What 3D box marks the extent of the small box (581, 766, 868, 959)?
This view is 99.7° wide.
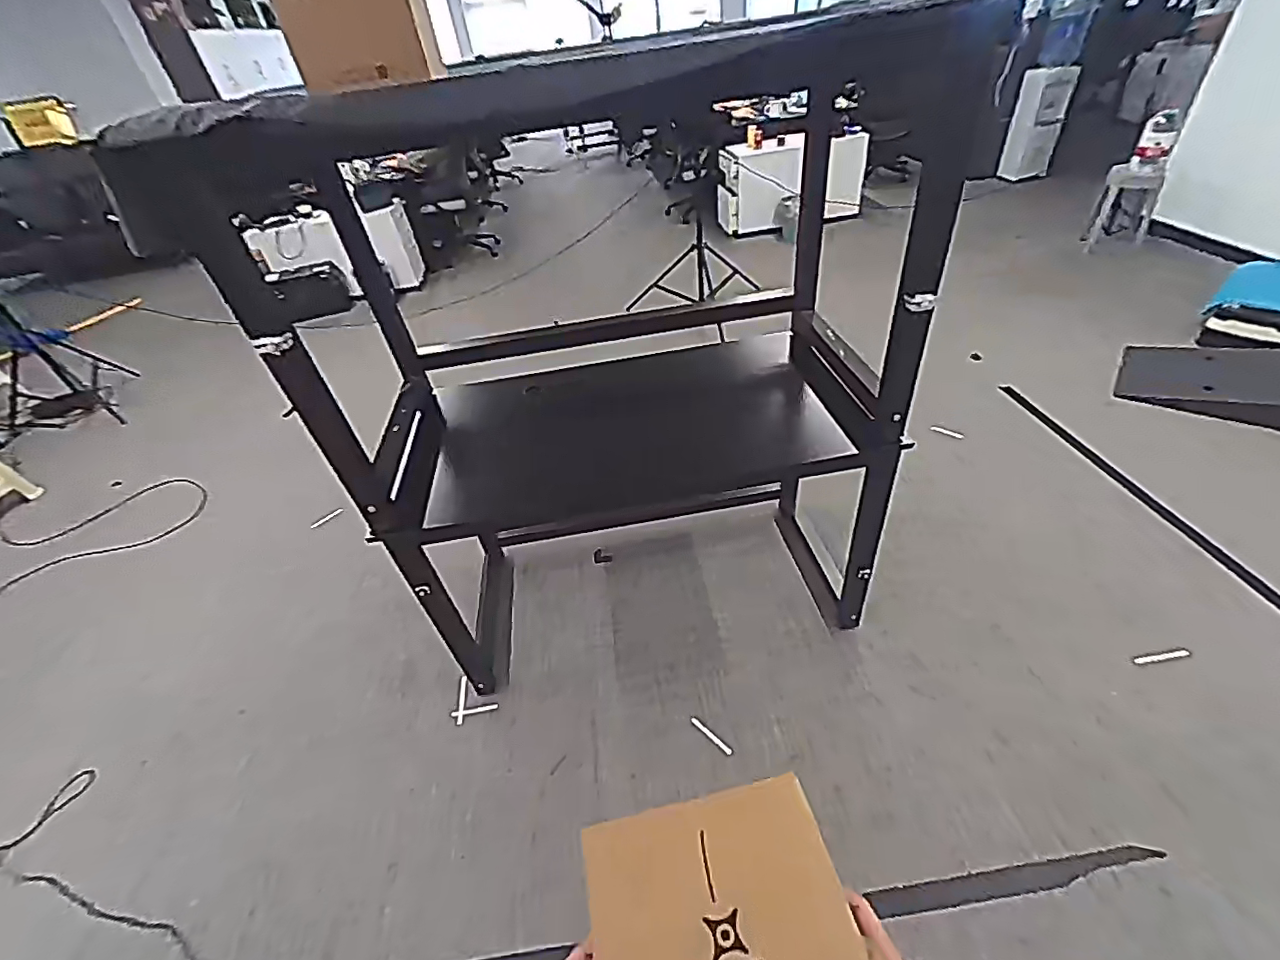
[{"bbox_3d":[0.059,0.341,0.388,0.168,0.176,0.179,-11,43,-5],"label":"small box"}]
